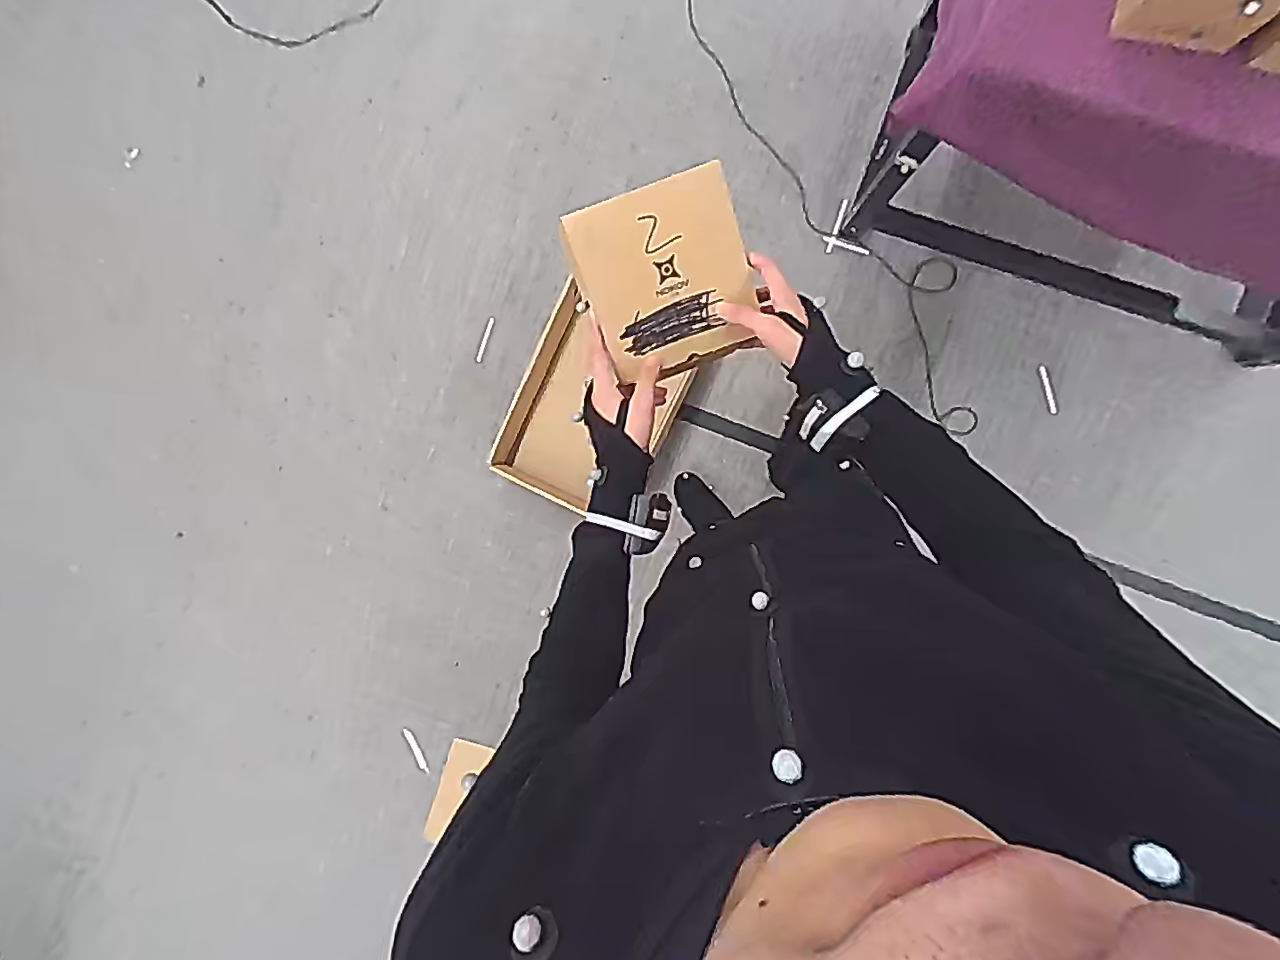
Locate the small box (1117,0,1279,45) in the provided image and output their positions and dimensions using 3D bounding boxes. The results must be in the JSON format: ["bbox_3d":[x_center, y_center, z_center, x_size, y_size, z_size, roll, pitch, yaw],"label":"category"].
[{"bbox_3d":[0.781,-0.718,0.702,0.168,0.176,0.179,12,94,3],"label":"small box"}]
